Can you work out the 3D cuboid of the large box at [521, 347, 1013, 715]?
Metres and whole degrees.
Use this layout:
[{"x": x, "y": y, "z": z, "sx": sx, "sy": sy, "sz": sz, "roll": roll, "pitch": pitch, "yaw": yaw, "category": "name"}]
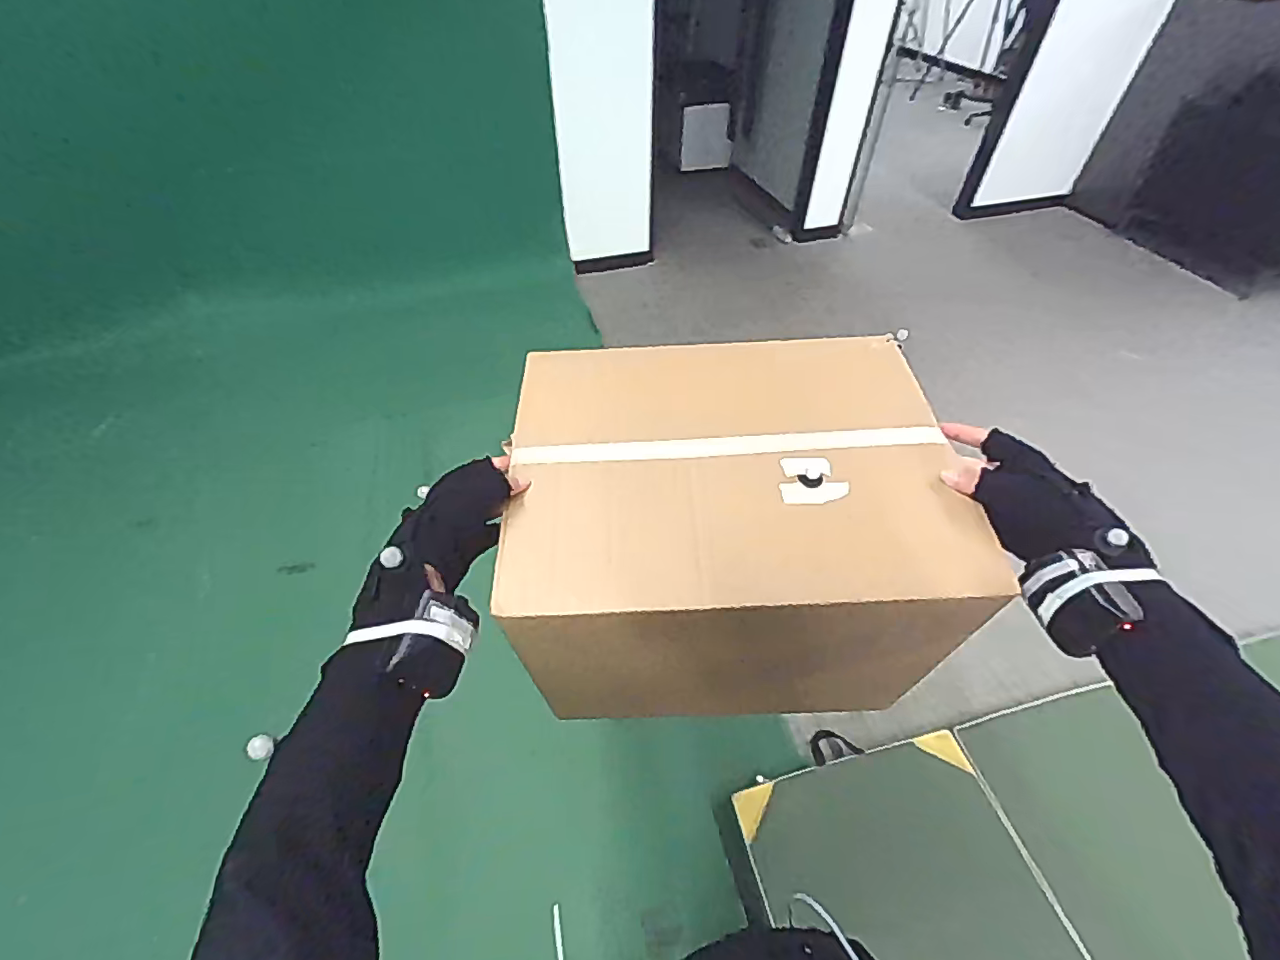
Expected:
[{"x": 0.099, "y": 0.068, "z": 0.636, "sx": 0.408, "sy": 0.320, "sz": 0.320, "roll": -2, "pitch": 53, "yaw": 0, "category": "large box"}]
